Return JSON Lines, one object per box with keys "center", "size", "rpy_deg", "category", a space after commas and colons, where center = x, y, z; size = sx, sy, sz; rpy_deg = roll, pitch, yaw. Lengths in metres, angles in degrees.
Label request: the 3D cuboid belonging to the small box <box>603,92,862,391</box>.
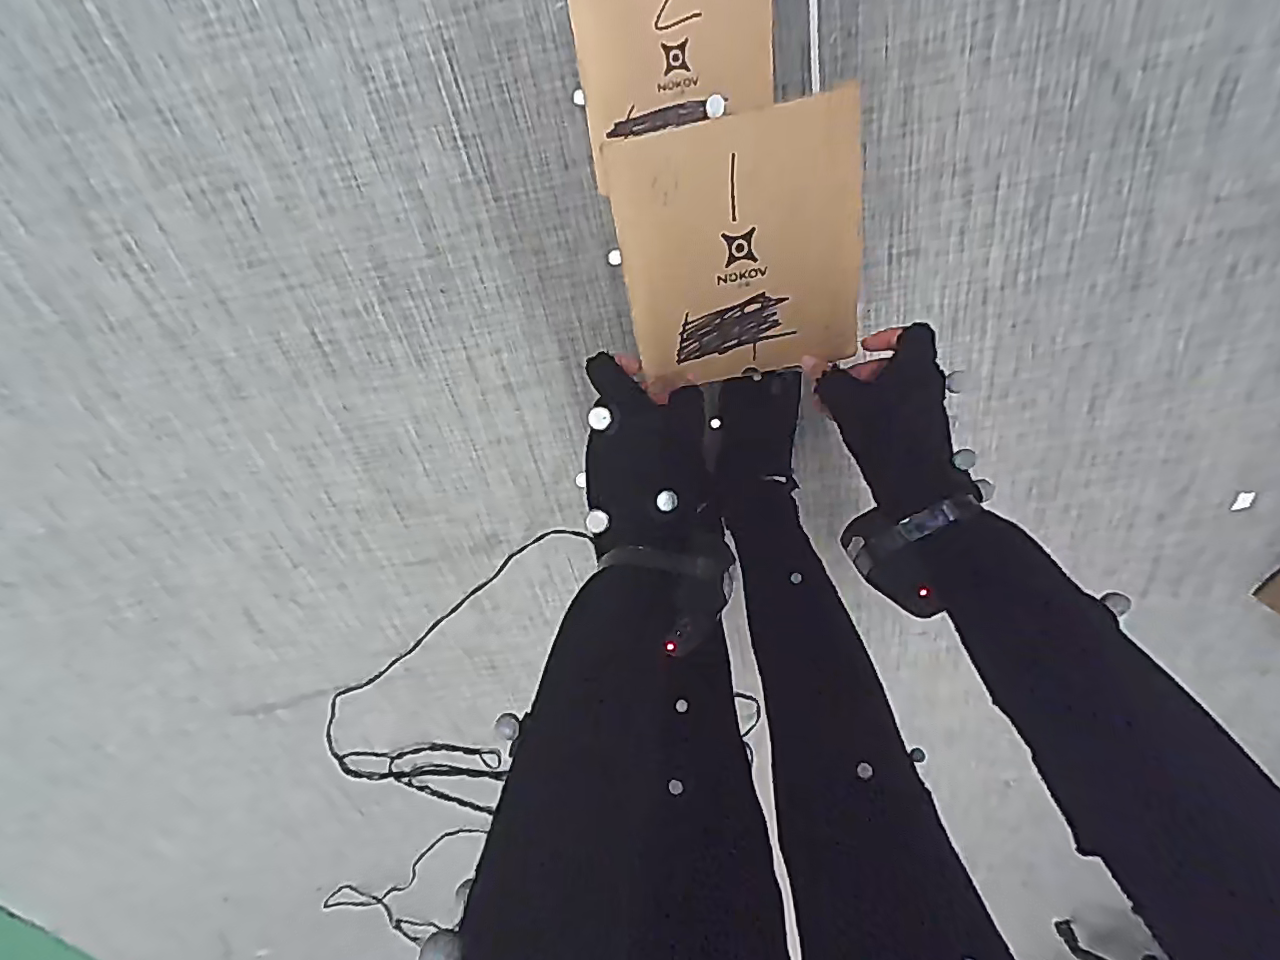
{"center": [0.072, -0.196, 0.450], "size": [0.168, 0.176, 0.179], "rpy_deg": [-9, 120, 6], "category": "small box"}
